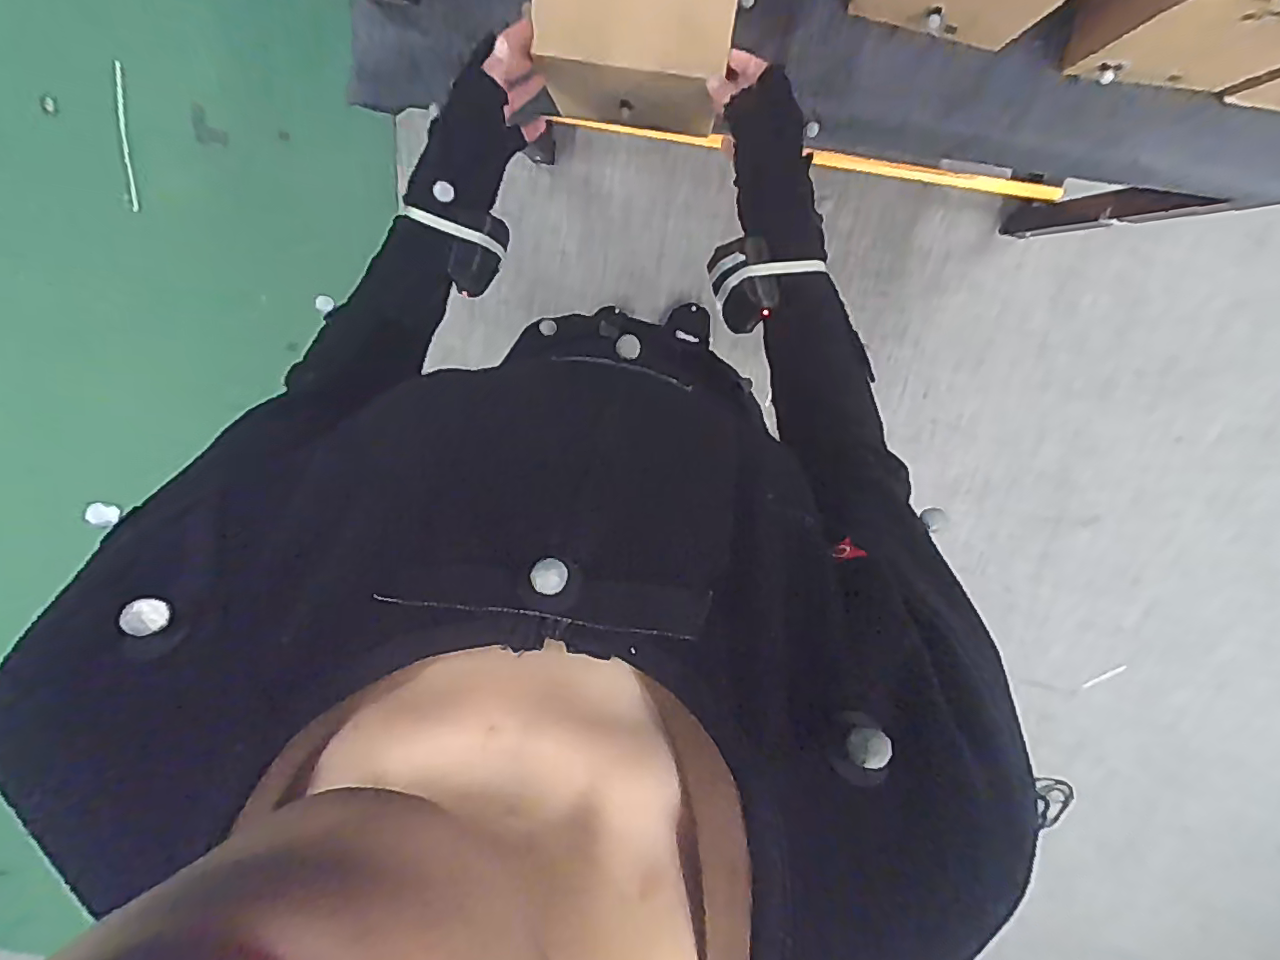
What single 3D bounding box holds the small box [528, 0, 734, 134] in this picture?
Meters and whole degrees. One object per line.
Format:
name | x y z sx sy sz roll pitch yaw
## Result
small box | 0.002 -0.443 0.495 0.168 0.176 0.179 8 108 -1
